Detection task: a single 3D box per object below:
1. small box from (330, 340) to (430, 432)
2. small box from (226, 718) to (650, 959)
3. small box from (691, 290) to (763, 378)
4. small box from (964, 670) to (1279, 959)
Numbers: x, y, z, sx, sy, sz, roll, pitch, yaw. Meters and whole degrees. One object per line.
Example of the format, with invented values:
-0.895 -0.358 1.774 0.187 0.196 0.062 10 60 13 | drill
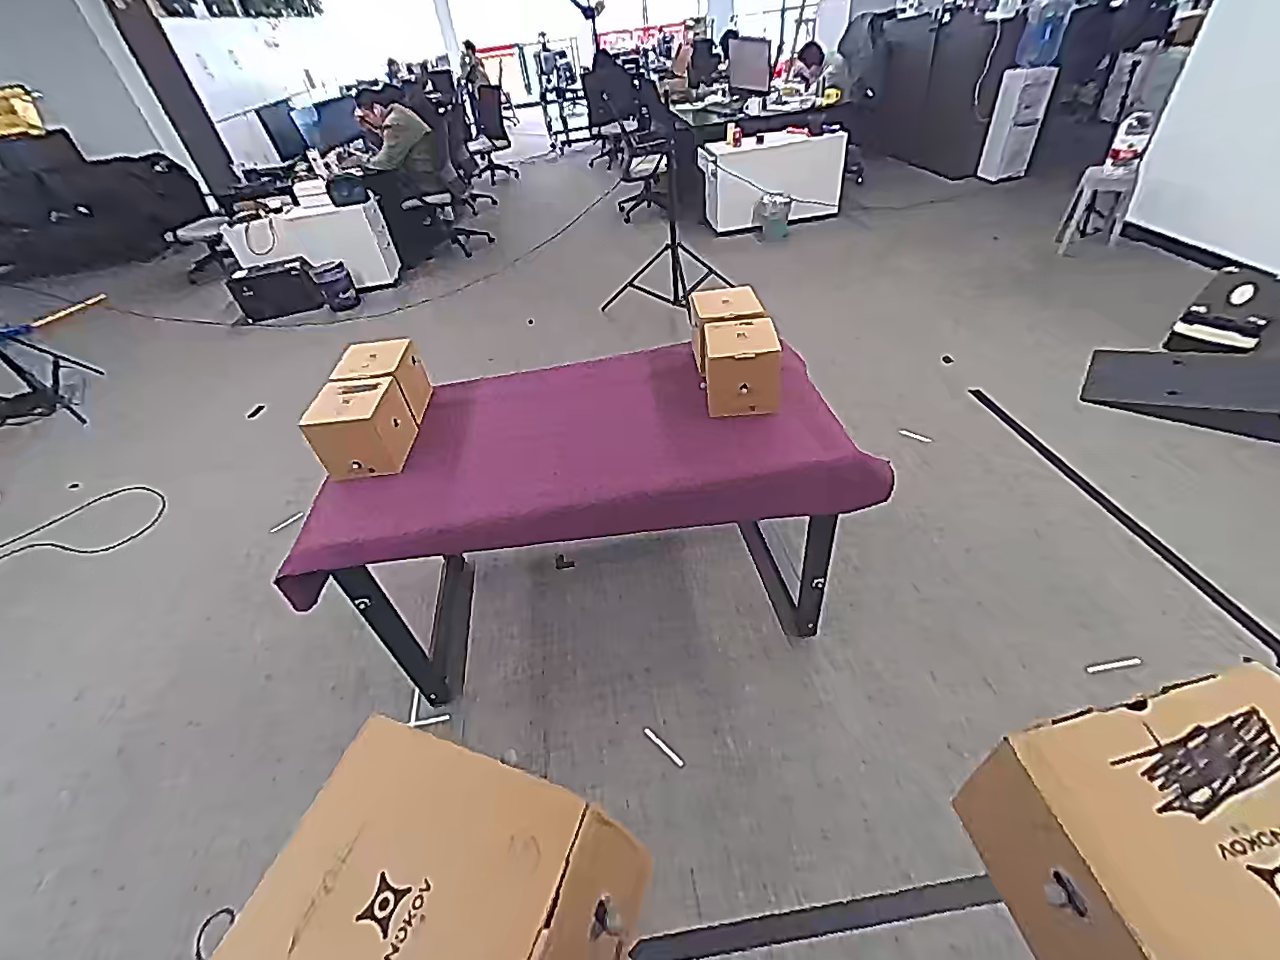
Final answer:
-0.676 -0.249 1.434 0.168 0.176 0.179 -7 42 1 | small box
-0.109 0.285 0.346 0.179 0.176 0.168 6 48 24 | small box
0.230 -0.396 1.468 0.168 0.176 0.179 -6 41 0 | small box
0.336 0.250 0.330 0.168 0.176 0.179 -17 46 1 | small box
